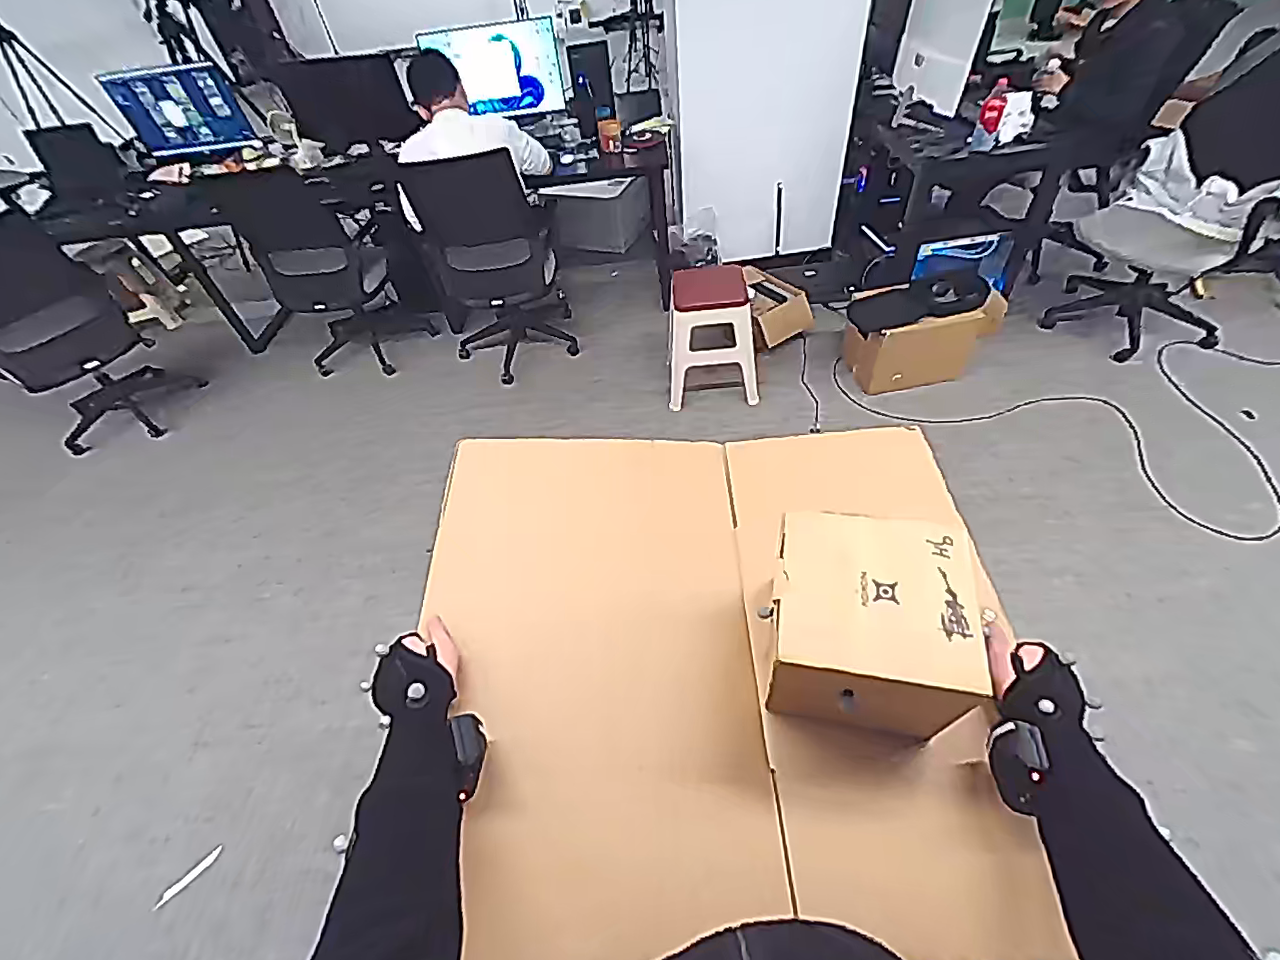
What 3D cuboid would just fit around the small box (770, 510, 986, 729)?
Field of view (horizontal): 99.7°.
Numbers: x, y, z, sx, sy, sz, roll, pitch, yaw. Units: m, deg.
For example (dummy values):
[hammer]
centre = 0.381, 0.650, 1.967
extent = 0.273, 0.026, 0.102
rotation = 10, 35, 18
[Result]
[small box]
centre = 0.234, 0.151, 0.576
extent = 0.179, 0.176, 0.168
rotation = 5, 55, 14
